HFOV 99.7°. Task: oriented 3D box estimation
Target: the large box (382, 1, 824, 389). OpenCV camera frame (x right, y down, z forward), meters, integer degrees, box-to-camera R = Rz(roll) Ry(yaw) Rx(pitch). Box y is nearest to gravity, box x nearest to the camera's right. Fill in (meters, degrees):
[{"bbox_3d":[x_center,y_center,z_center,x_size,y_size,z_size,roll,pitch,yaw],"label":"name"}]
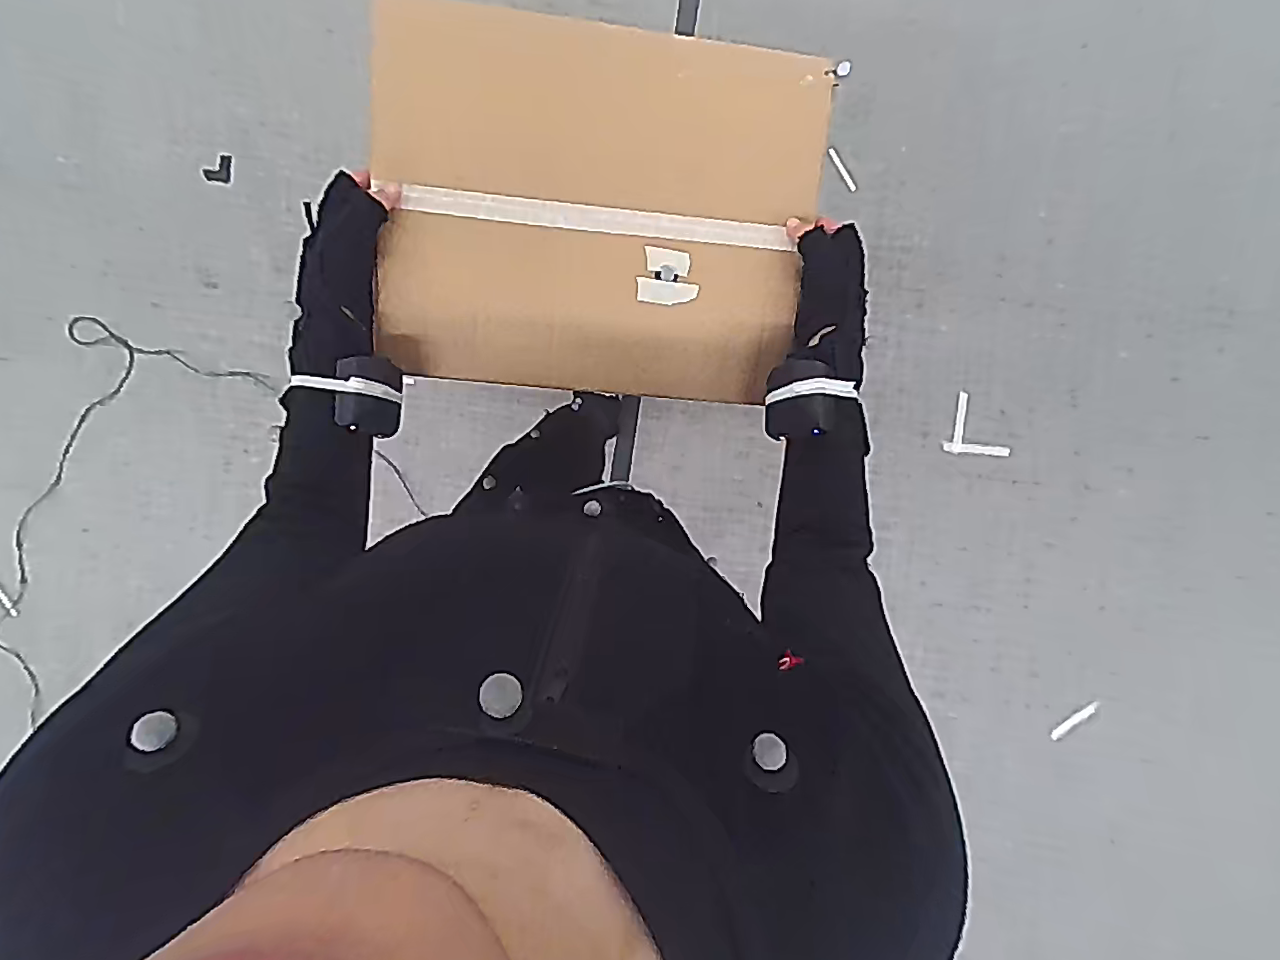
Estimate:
[{"bbox_3d":[-0.049,-0.285,0.657,0.408,0.320,0.320,3,103,-6],"label":"large box"}]
